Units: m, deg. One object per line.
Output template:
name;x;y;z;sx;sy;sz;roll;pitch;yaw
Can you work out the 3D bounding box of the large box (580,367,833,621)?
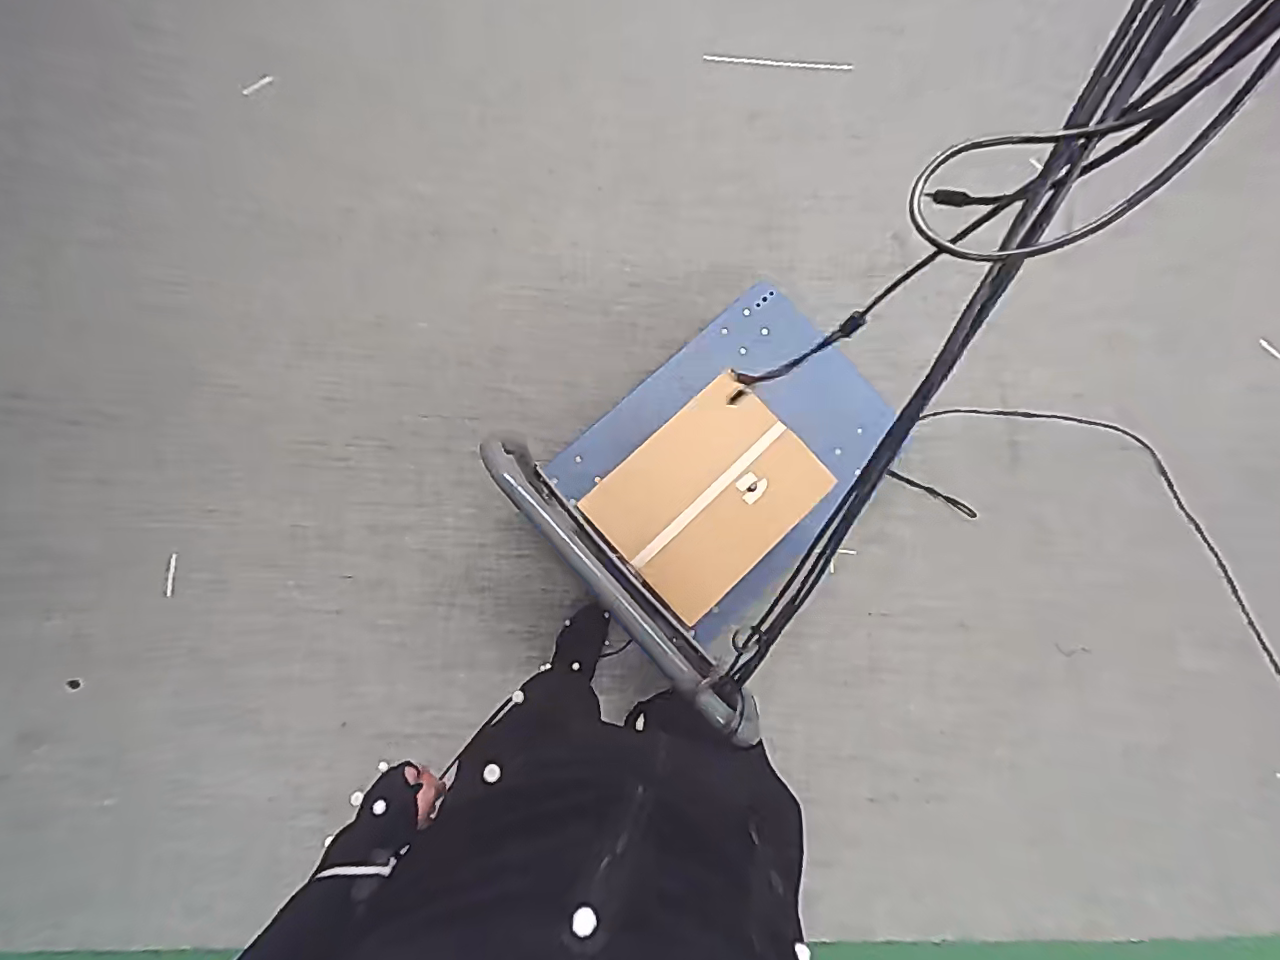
large box;0.120;0.043;1.168;0.408;0.320;0.320;-42;87;-9
